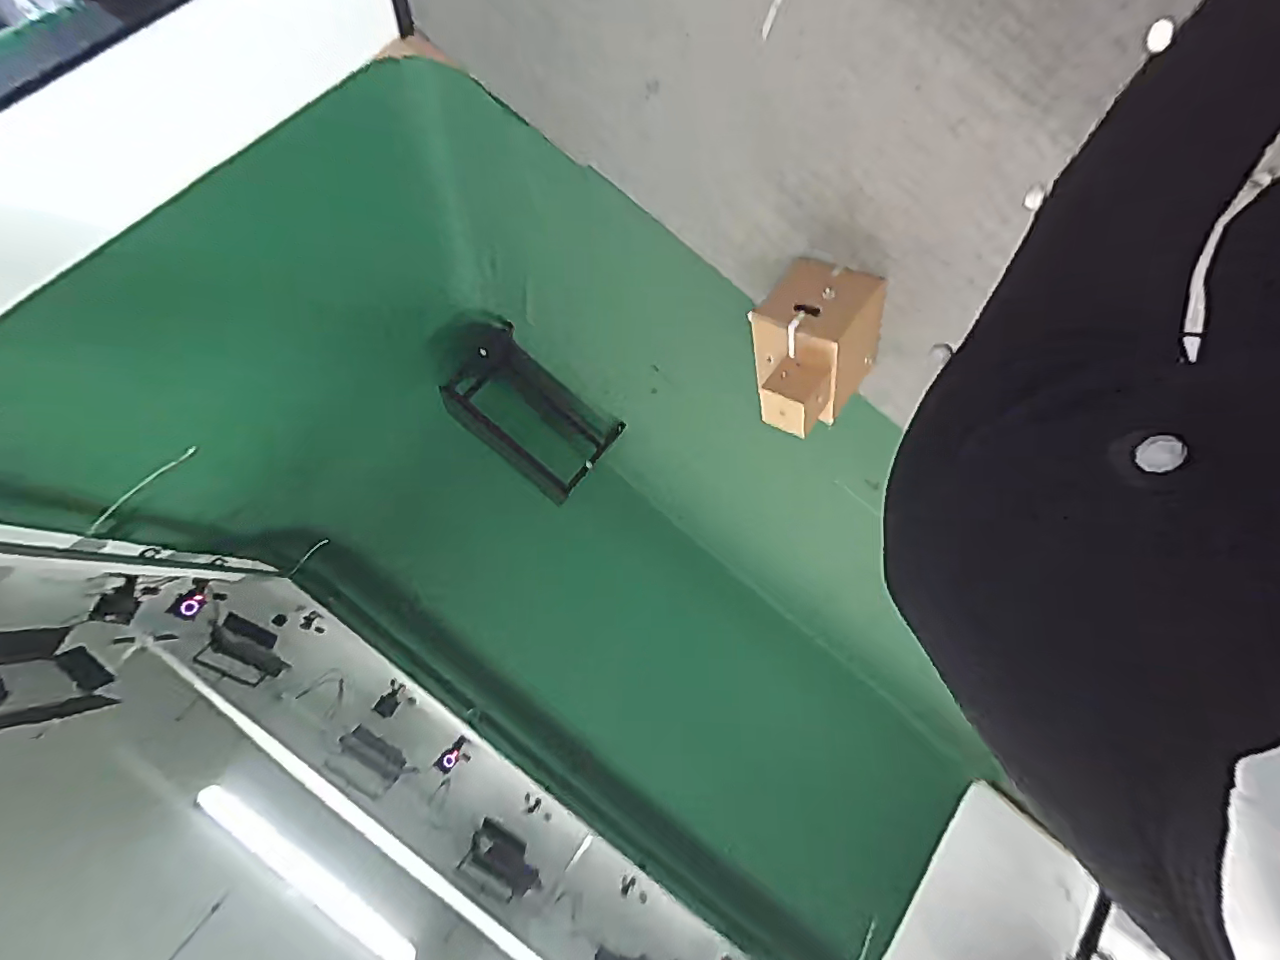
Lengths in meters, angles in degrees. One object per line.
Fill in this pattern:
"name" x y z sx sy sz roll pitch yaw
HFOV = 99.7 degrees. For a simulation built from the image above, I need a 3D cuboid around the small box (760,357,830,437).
"small box" 0.518 -0.280 1.806 0.168 0.176 0.179 30 161 29
